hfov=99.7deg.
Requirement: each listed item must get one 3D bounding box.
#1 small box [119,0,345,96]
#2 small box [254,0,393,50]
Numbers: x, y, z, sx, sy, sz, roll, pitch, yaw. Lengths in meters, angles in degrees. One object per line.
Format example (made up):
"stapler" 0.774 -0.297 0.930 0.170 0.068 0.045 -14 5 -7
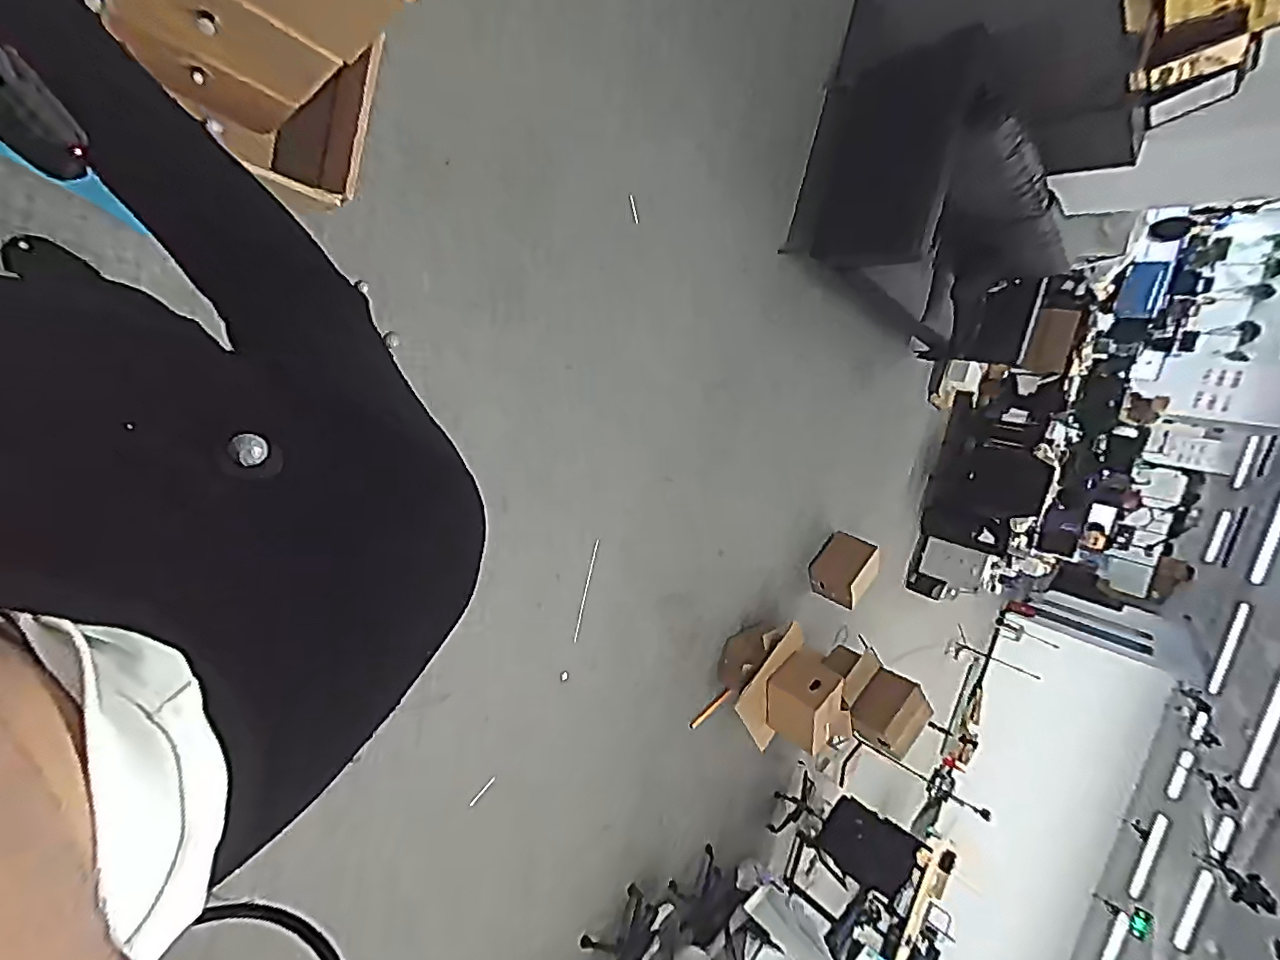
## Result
"small box" -0.394 -0.522 0.532 0.179 0.176 0.168 7 99 -44
"small box" -0.276 -0.489 0.421 0.179 0.176 0.168 10 97 -46
